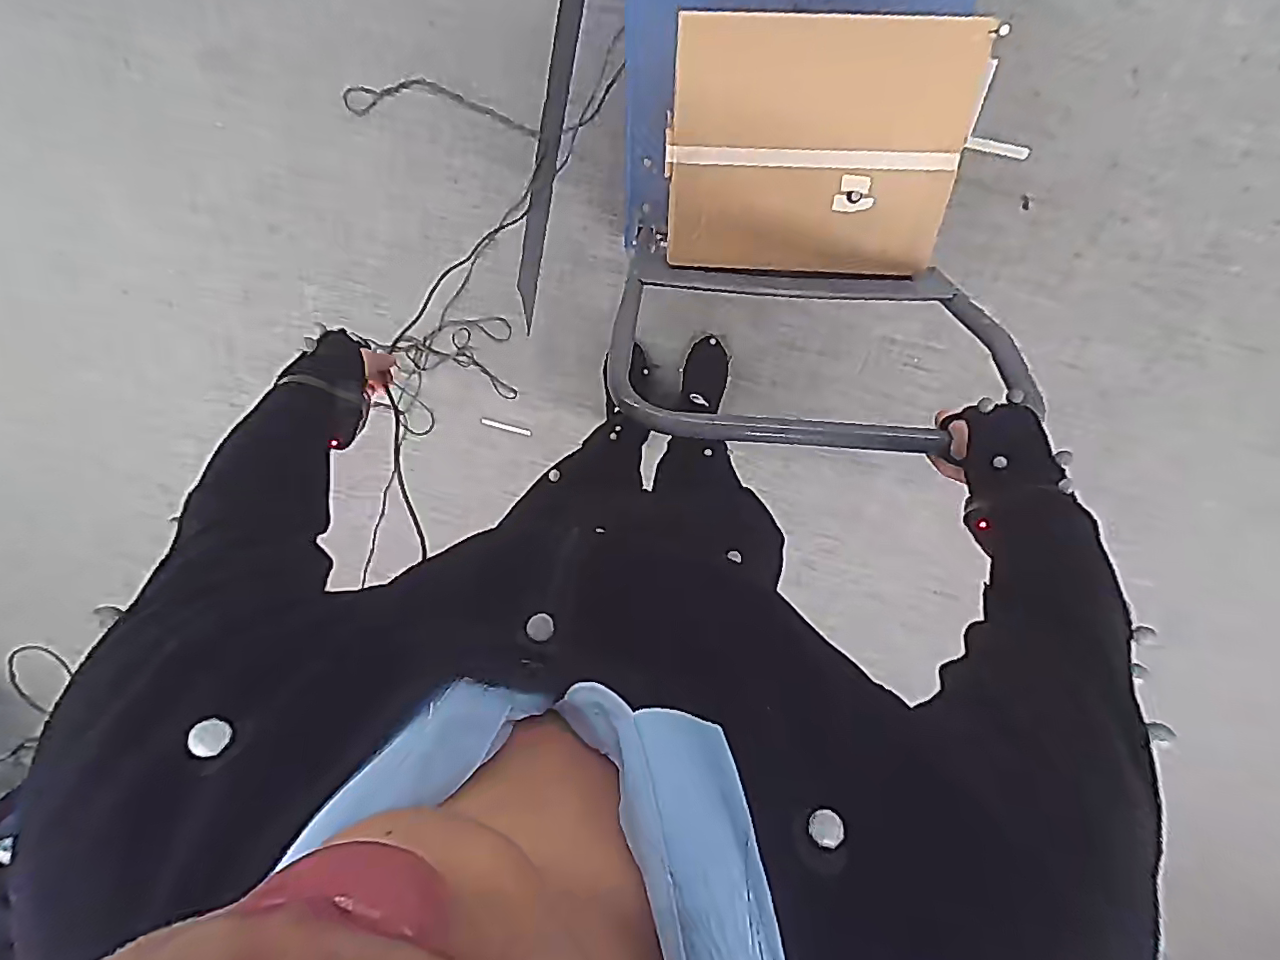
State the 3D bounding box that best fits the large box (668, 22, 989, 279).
[{"bbox_3d":[0.250,-0.534,0.897,0.408,0.320,0.320,3,125,2],"label":"large box"}]
